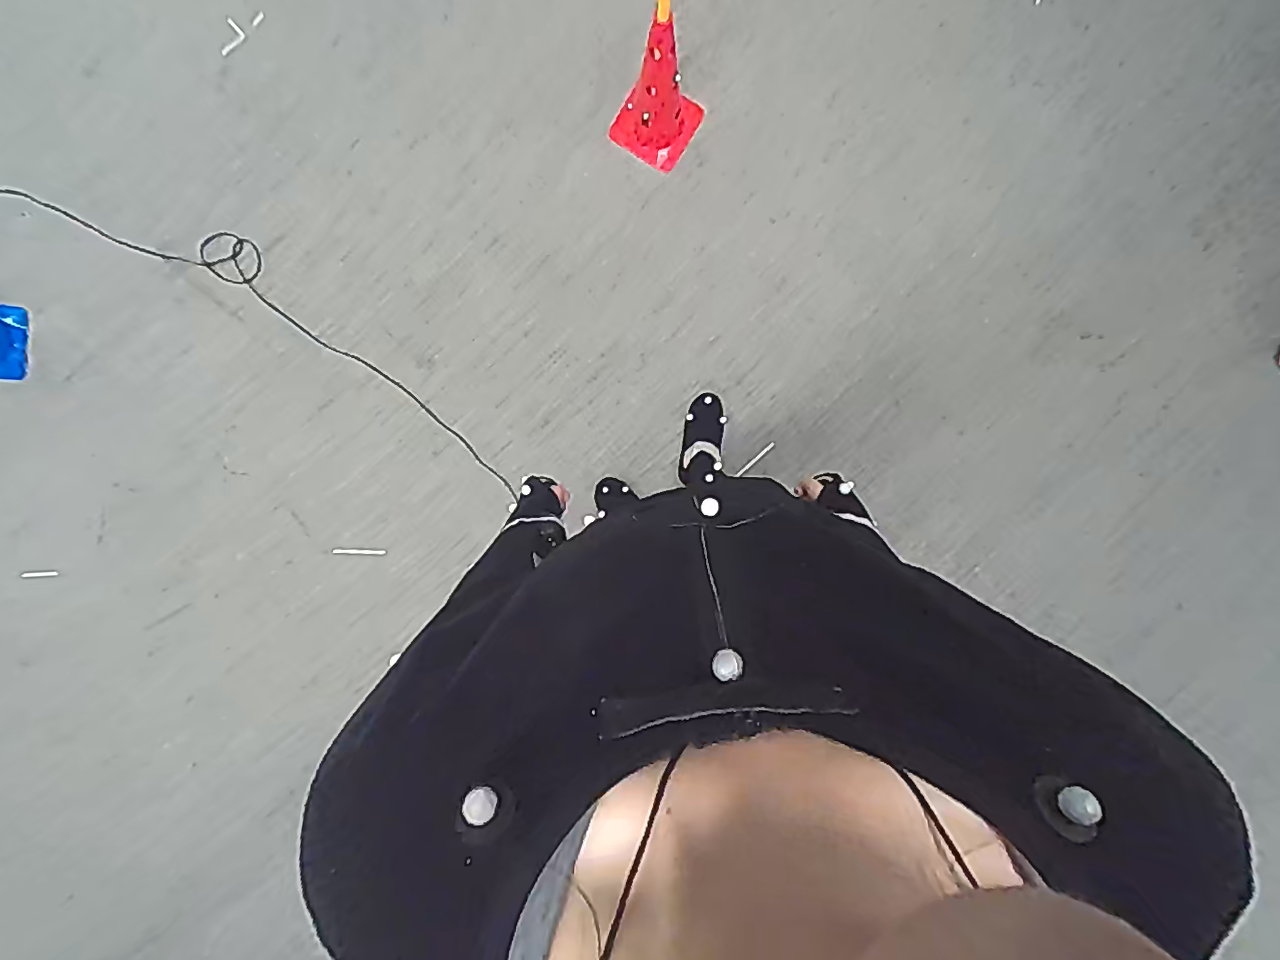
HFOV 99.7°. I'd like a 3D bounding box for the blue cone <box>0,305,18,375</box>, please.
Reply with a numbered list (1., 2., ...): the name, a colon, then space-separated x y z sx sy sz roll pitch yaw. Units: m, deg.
1. blue cone: -1.751 -0.360 1.276 0.192 0.380 0.193 4 95 -2
